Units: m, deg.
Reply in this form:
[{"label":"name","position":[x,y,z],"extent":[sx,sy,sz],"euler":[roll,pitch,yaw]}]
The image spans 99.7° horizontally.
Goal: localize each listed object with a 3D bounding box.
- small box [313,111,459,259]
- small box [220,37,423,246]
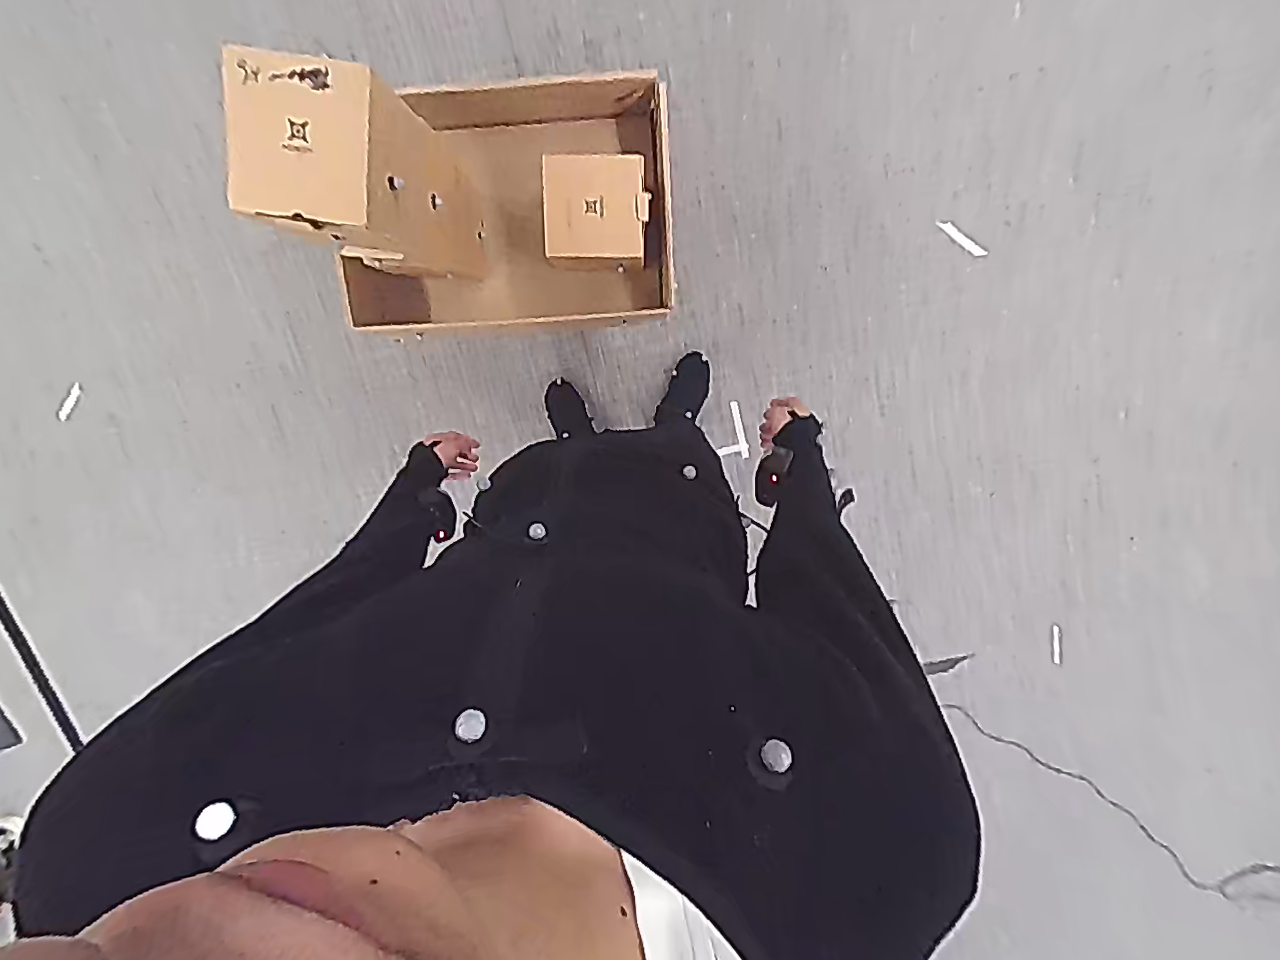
[{"label":"small box","position":[-0.394,-0.456,0.854],"extent":[0.168,0.176,0.179],"euler":[4,102,-1]},{"label":"small box","position":[-0.393,-0.414,0.695],"extent":[0.168,0.176,0.179],"euler":[8,103,-2]}]
